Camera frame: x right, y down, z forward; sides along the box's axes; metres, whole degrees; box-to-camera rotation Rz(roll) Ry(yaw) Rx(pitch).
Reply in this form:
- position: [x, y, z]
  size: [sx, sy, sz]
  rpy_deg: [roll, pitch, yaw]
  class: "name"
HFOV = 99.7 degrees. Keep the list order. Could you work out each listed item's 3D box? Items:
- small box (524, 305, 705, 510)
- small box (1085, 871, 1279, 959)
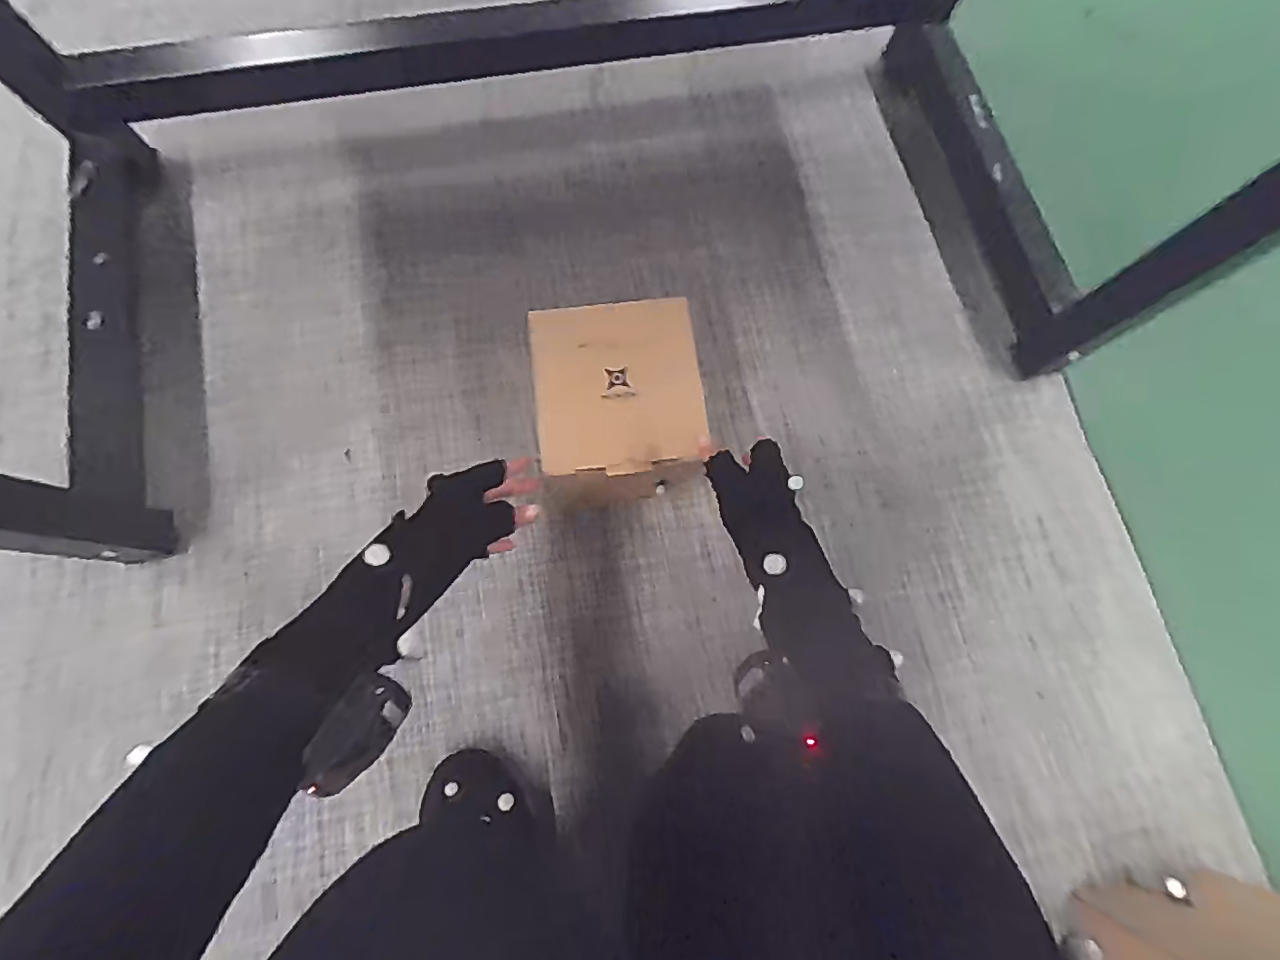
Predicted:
- position: [-0.030, -0.069, 0.613]
  size: [0.168, 0.176, 0.179]
  rpy_deg: [-7, 74, -5]
  class: "small box"
- position: [0.559, 0.493, 0.491]
  size: [0.179, 0.176, 0.168]
  rpy_deg: [-7, 76, -3]
  class: "small box"
